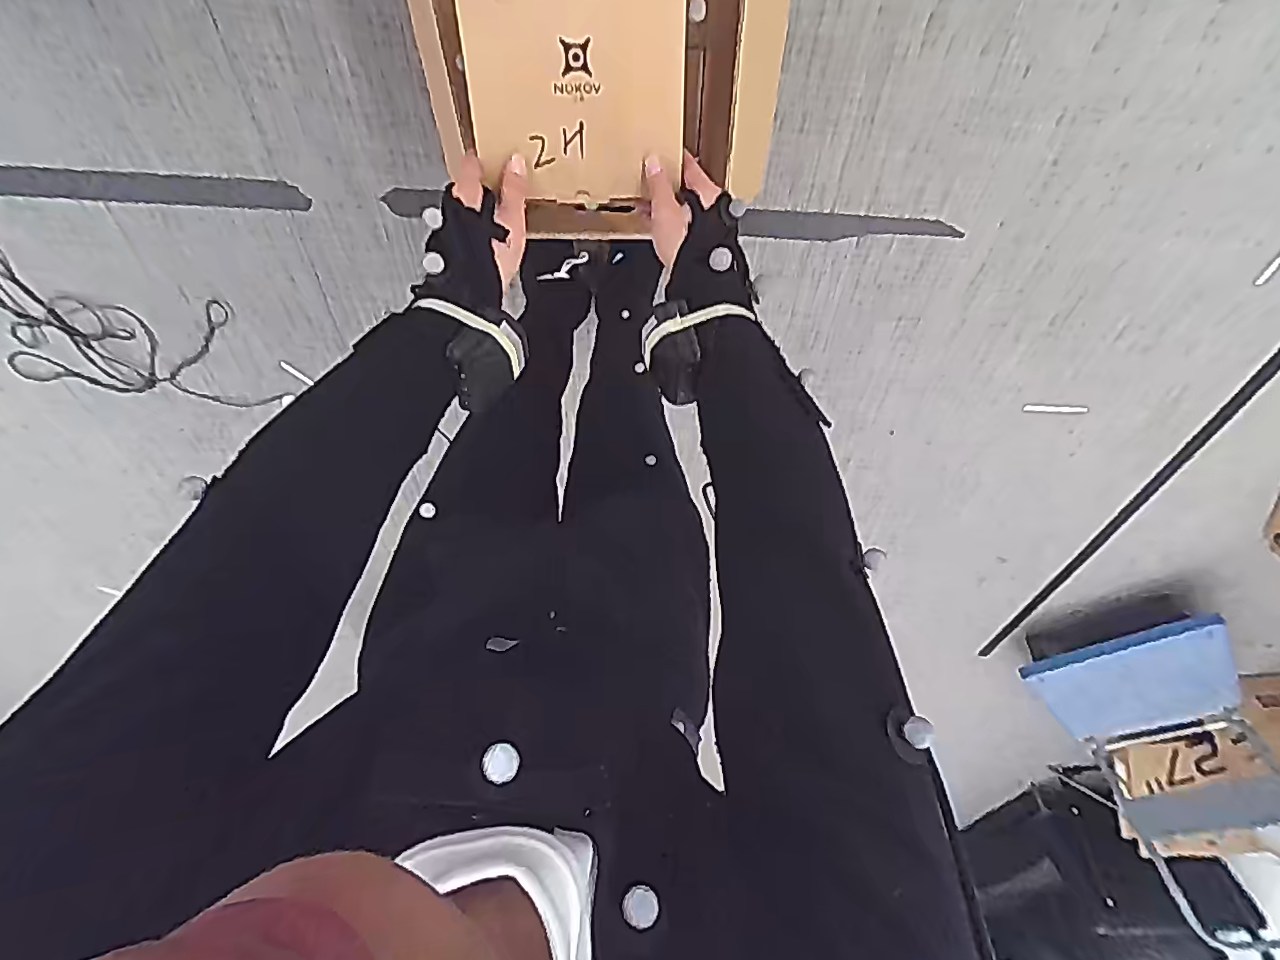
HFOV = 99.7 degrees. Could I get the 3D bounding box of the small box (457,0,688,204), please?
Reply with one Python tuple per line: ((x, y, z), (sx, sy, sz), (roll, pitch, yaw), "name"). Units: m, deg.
((-0.050, -0.344, 0.470), (0.168, 0.176, 0.179), (0, 122, 0), "small box")
